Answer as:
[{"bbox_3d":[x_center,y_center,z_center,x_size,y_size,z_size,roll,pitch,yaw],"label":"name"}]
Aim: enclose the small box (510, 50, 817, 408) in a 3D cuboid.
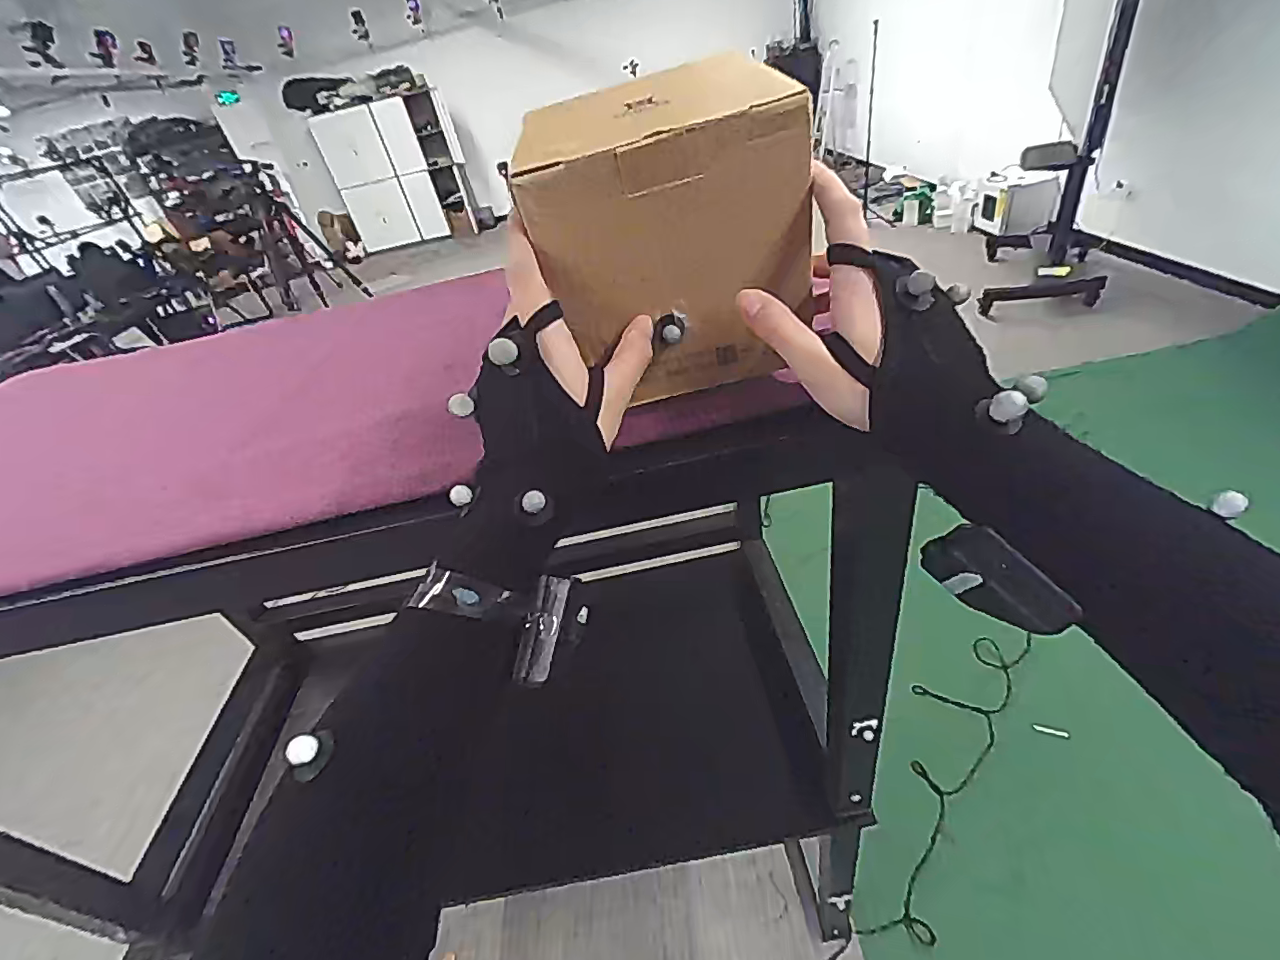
[{"bbox_3d":[0.020,-0.180,0.395,0.168,0.176,0.179,-13,45,5],"label":"small box"}]
